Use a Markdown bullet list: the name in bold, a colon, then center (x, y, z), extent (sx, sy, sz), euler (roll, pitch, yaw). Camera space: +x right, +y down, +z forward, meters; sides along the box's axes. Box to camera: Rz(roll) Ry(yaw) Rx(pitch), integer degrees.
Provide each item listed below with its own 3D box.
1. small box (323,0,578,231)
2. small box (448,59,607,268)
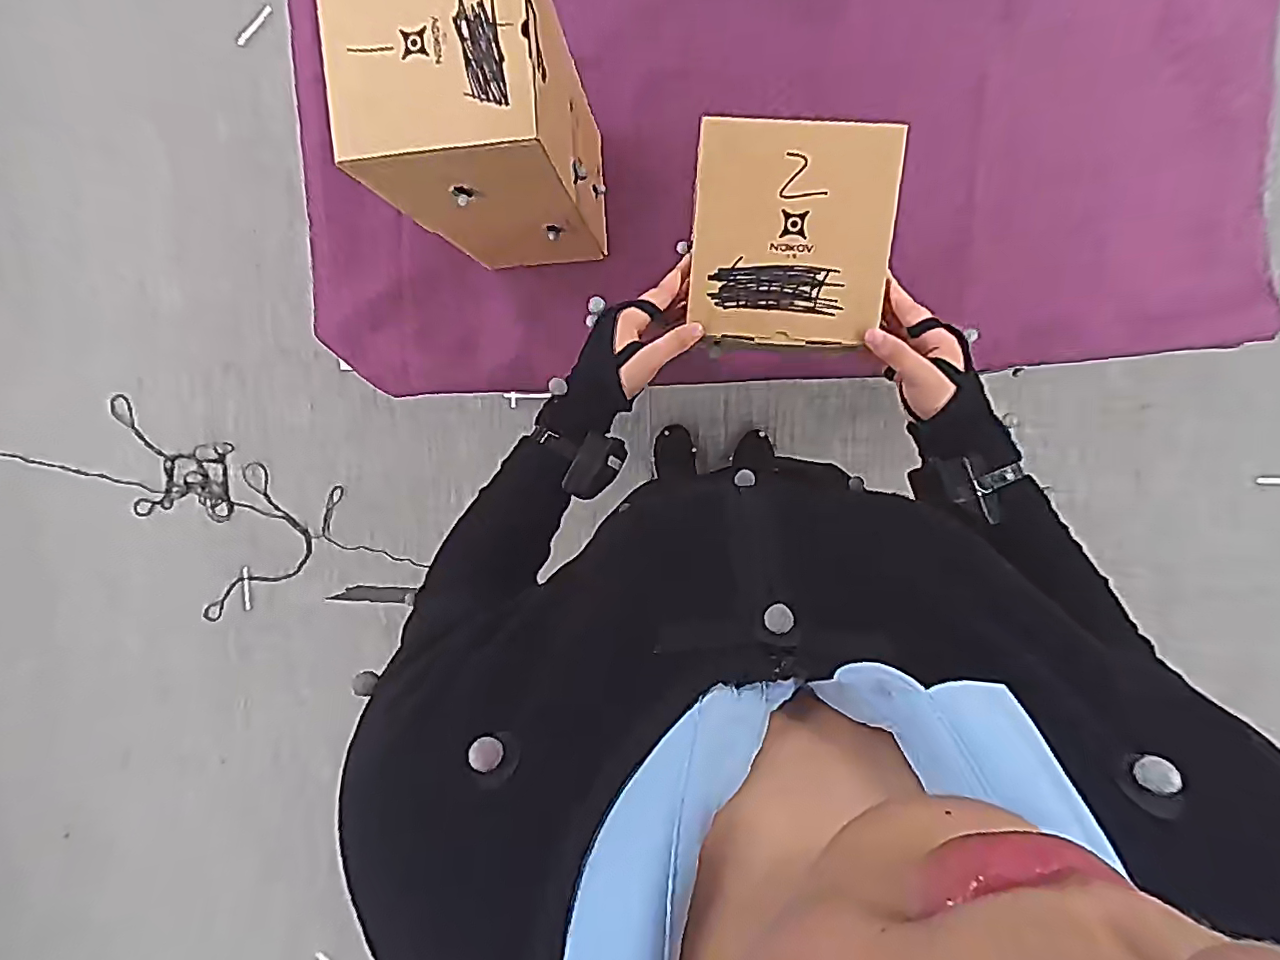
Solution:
- **small box**: center (-0.159, -0.353, 0.510), extent (0.179, 0.176, 0.168), euler (-3, 95, 6)
- **small box**: center (-0.144, -0.374, 0.673), extent (0.179, 0.176, 0.168), euler (-3, 96, 6)
